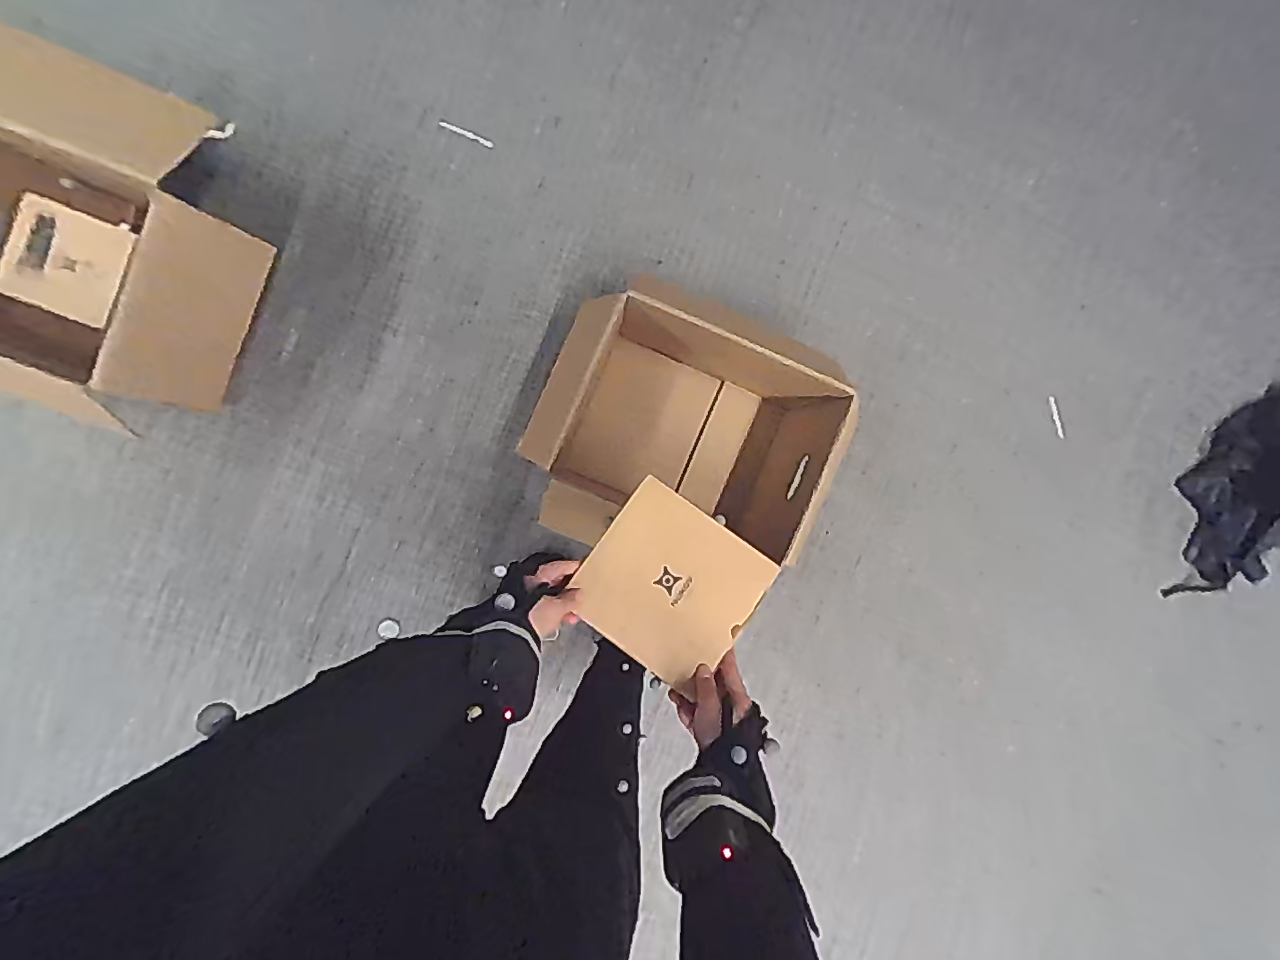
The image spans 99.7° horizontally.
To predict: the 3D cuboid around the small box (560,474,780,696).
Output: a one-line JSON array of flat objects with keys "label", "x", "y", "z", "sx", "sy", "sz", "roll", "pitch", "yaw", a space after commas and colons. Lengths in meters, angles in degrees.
[{"label": "small box", "x": 0.026, "y": 0.122, "z": 0.634, "sx": 0.179, "sy": 0.176, "sz": 0.168, "roll": 35, "pitch": 78, "yaw": 3}]
